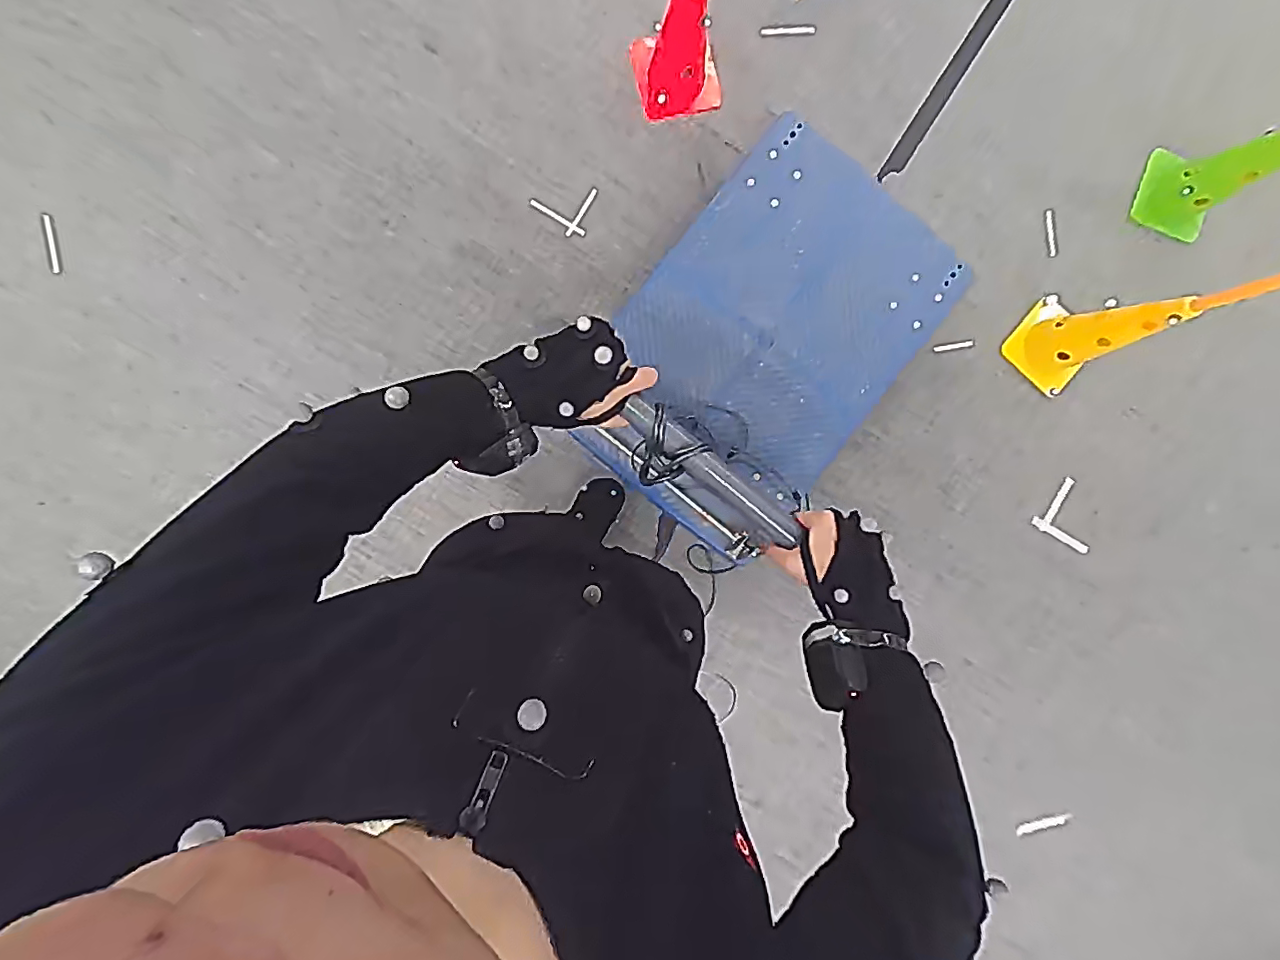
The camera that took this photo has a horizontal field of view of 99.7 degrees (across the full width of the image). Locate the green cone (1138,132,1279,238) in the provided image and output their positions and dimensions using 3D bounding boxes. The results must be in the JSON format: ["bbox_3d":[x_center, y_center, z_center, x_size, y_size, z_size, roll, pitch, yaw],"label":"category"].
[{"bbox_3d":[1.425,-0.745,1.242,0.200,0.368,0.202,18,92,-4],"label":"green cone"}]

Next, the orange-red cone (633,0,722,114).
[{"bbox_3d":[0.105,-1.003,1.157,0.199,0.360,0.198,-13,93,-4],"label":"orange-red cone"}]
